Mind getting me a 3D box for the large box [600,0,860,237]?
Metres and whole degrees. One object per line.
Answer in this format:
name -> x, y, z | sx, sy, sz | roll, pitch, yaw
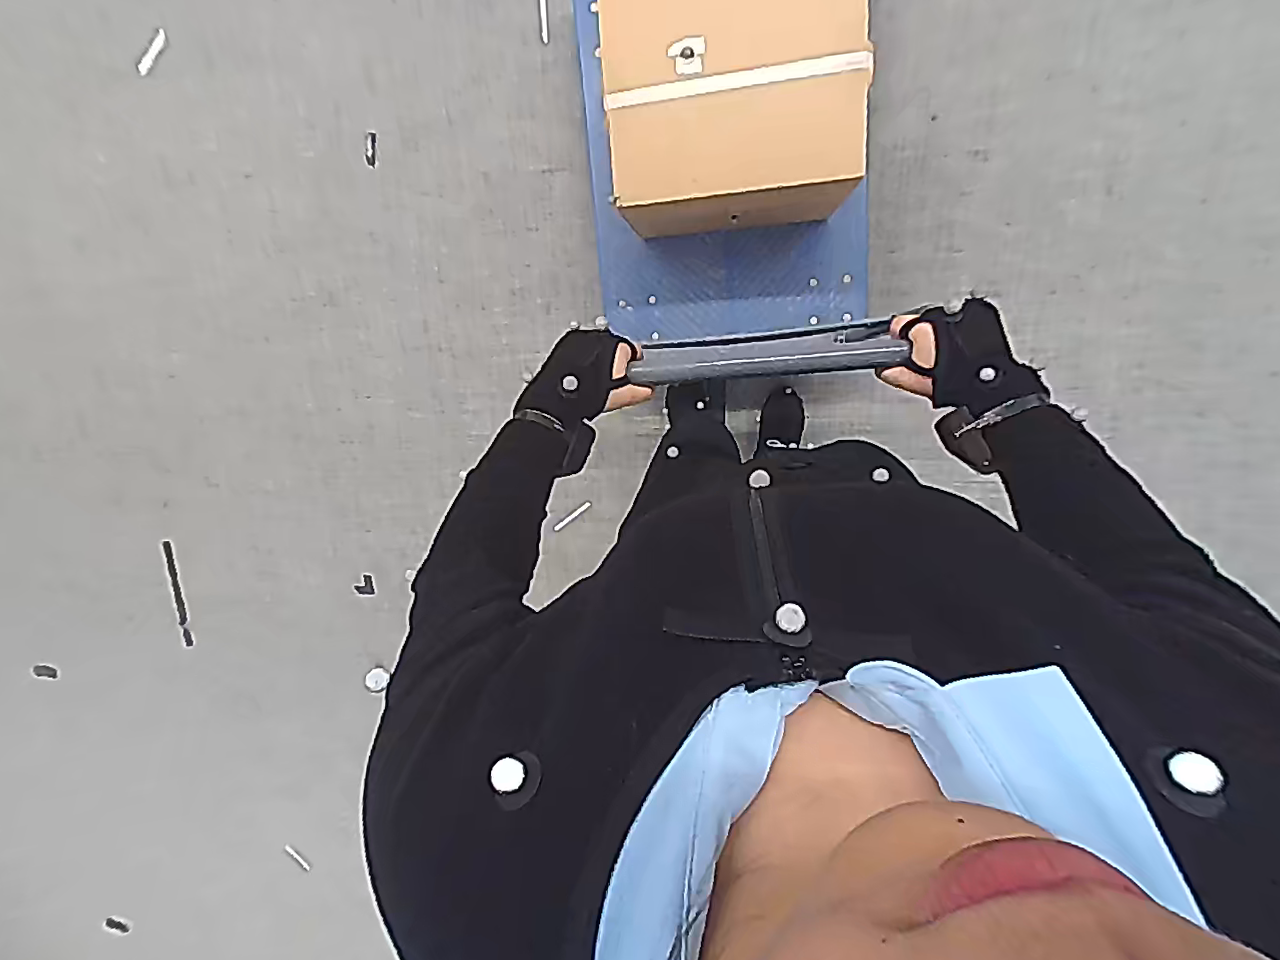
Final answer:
large box -> 0.168, -0.666, 1.009 | 0.408, 0.320, 0.320 | -3, 103, 10
